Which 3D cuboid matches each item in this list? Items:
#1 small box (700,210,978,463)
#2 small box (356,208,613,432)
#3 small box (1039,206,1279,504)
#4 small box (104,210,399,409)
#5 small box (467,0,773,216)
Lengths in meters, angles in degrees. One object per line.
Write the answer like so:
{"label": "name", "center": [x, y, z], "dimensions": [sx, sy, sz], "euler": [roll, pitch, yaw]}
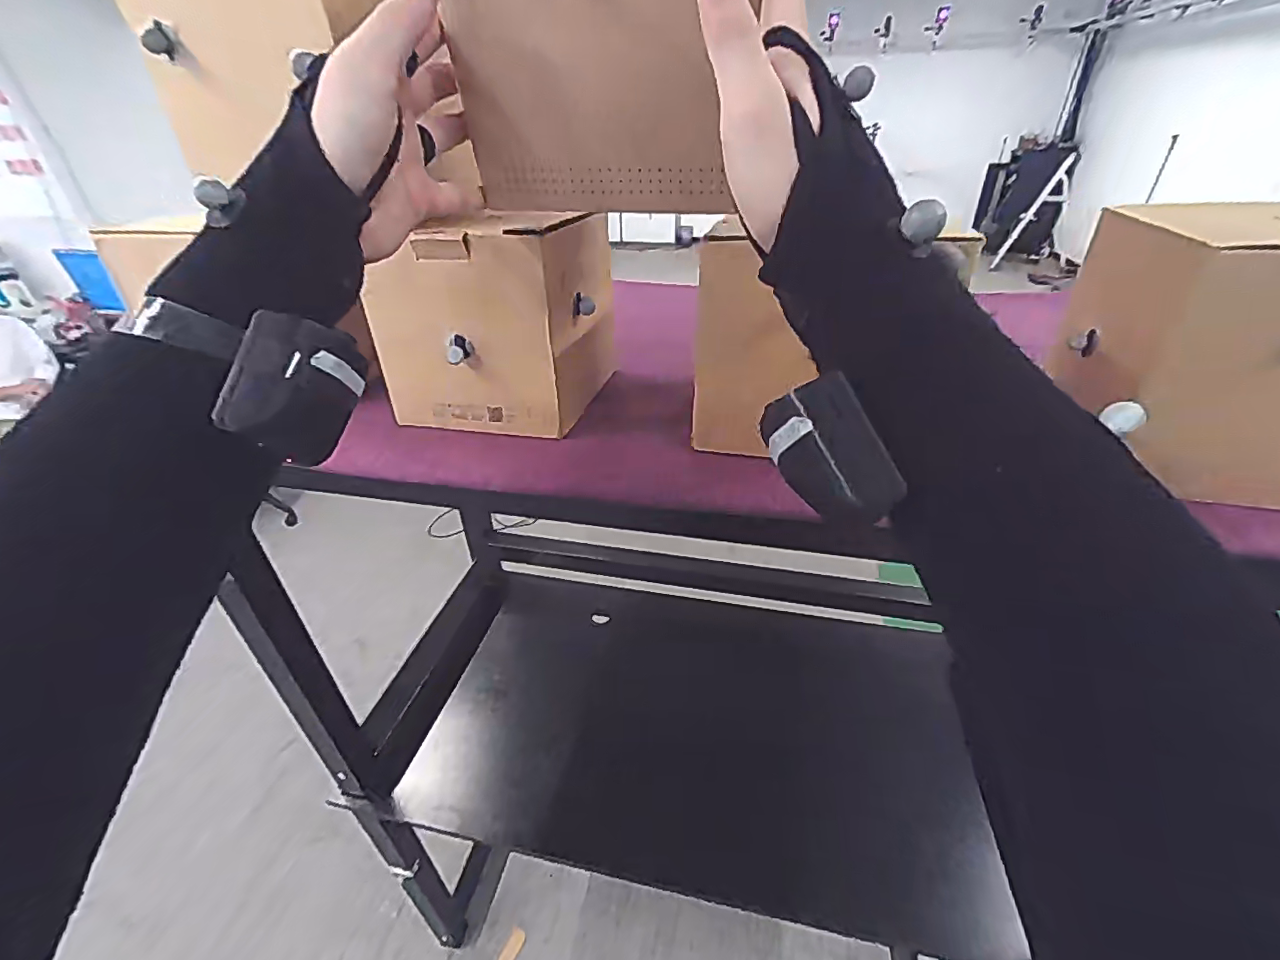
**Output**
{"label": "small box", "center": [0.150, -0.127, 0.463], "dimensions": [0.179, 0.176, 0.168], "euler": [5, 32, 13]}
{"label": "small box", "center": [-0.125, -0.158, 0.521], "dimensions": [0.168, 0.176, 0.179], "euler": [6, 33, 11]}
{"label": "small box", "center": [0.428, -0.096, 0.396], "dimensions": [0.179, 0.176, 0.168], "euler": [8, 35, 16]}
{"label": "small box", "center": [-0.379, -0.185, 0.573], "dimensions": [0.179, 0.176, 0.168], "euler": [6, 33, 11]}
{"label": "small box", "center": [-0.004, -0.293, 0.364], "dimensions": [0.179, 0.176, 0.168], "euler": [6, 47, 9]}
